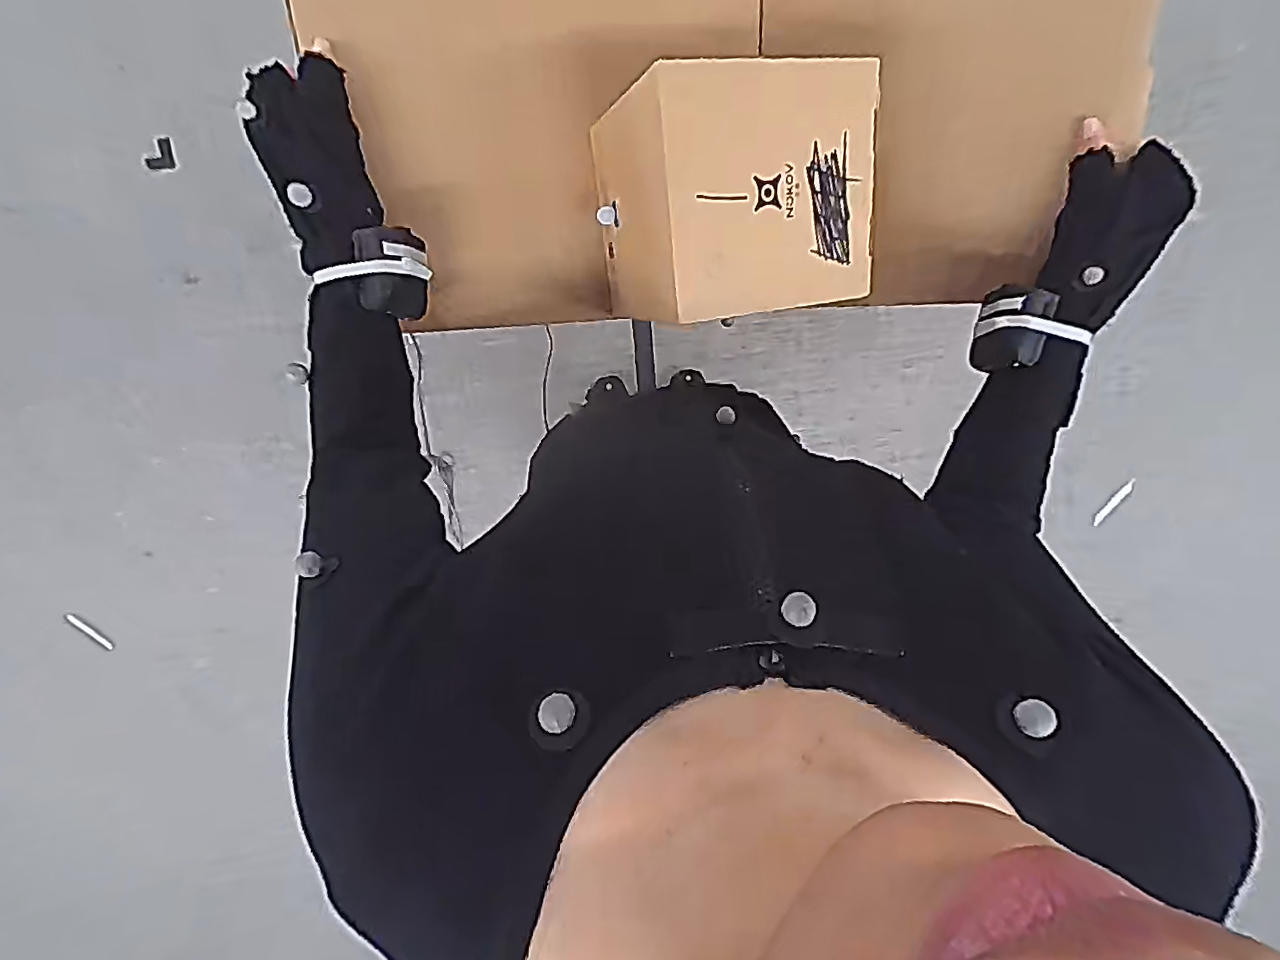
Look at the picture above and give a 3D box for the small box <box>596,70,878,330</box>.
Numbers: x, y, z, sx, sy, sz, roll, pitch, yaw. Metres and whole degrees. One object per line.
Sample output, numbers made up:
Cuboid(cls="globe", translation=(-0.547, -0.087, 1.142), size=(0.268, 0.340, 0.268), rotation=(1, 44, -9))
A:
Cuboid(cls="small box", translation=(0.075, -0.231, 0.471), size=(0.179, 0.176, 0.168), rotation=(-13, 112, -15))
